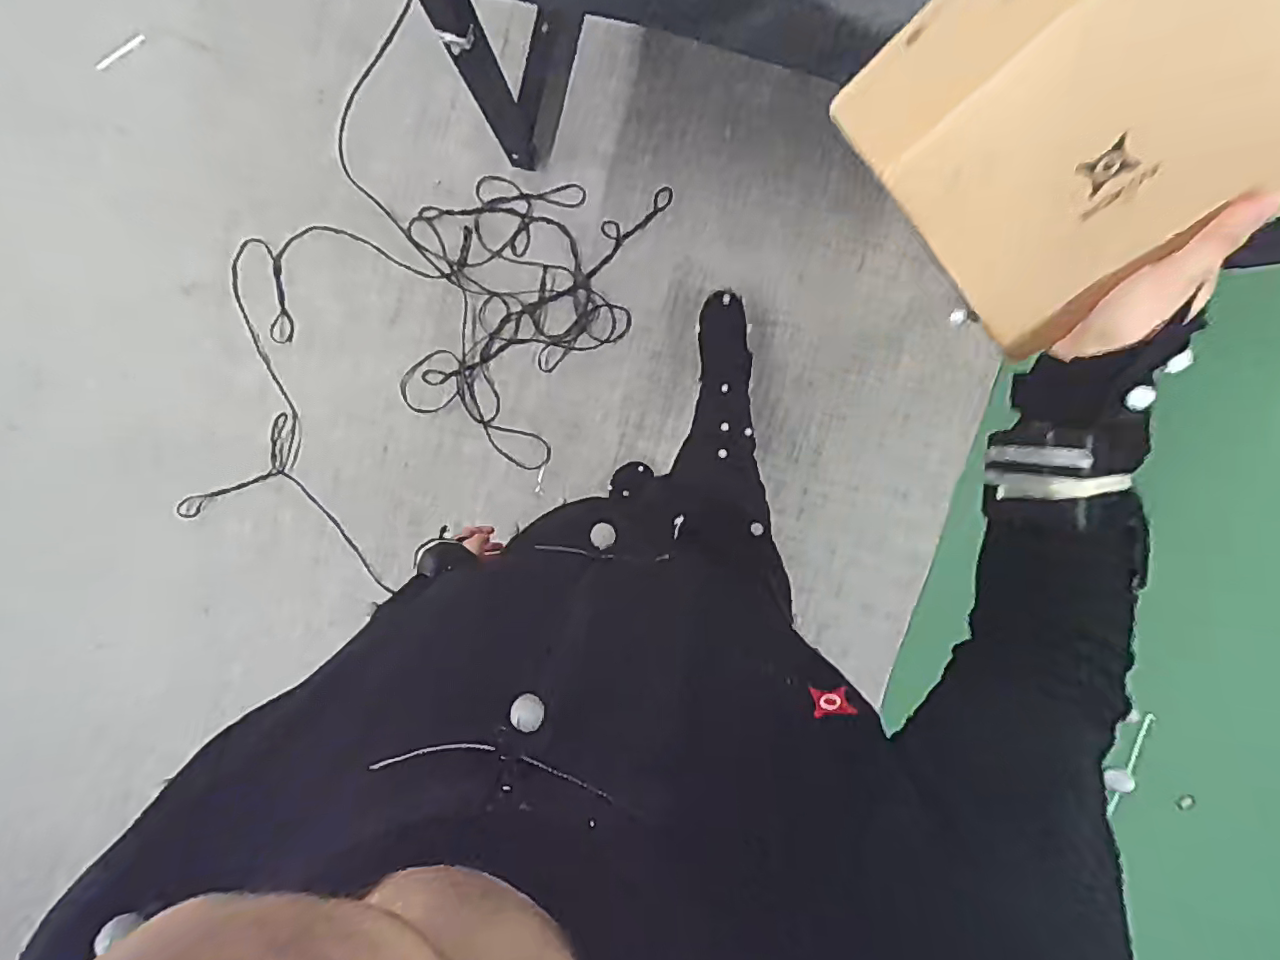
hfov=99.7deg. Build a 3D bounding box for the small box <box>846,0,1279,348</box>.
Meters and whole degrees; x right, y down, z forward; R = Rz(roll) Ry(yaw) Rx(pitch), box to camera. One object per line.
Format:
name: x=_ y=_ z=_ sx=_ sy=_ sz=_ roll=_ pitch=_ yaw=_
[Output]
small box: x=0.256 y=-0.226 z=0.336 sx=0.179 sy=0.176 sz=0.168 roll=33 pitch=130 yaw=-27
